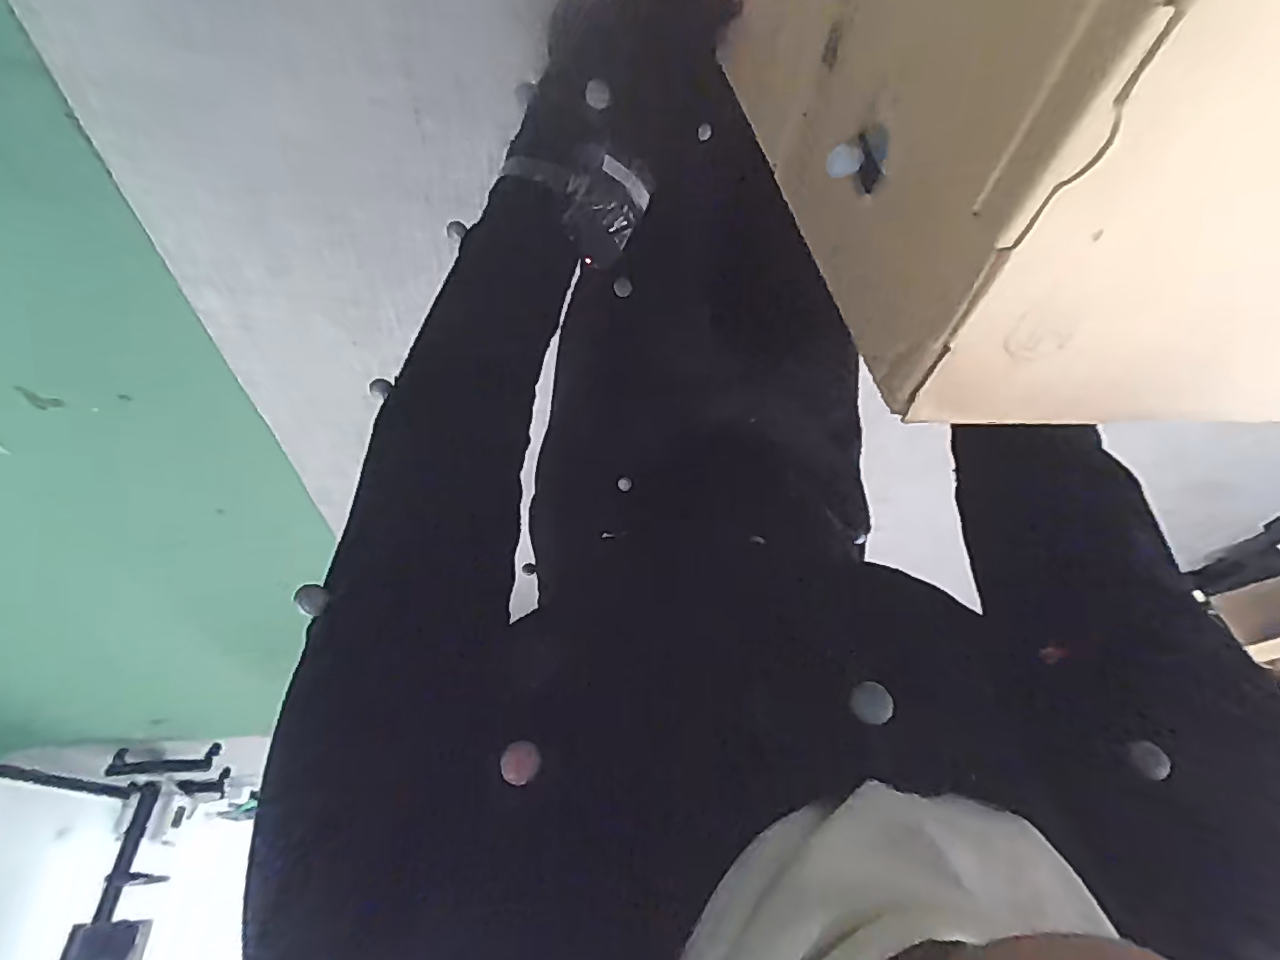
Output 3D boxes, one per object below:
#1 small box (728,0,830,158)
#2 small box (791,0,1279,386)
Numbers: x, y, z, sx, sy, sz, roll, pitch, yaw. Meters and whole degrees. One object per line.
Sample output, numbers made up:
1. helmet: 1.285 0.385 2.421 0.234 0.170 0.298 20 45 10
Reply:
1. small box: 0.146 -0.283 0.261 0.168 0.176 0.179 -2 144 -5
2. small box: 0.167 -0.149 0.173 0.179 0.176 0.168 -2 145 -6
